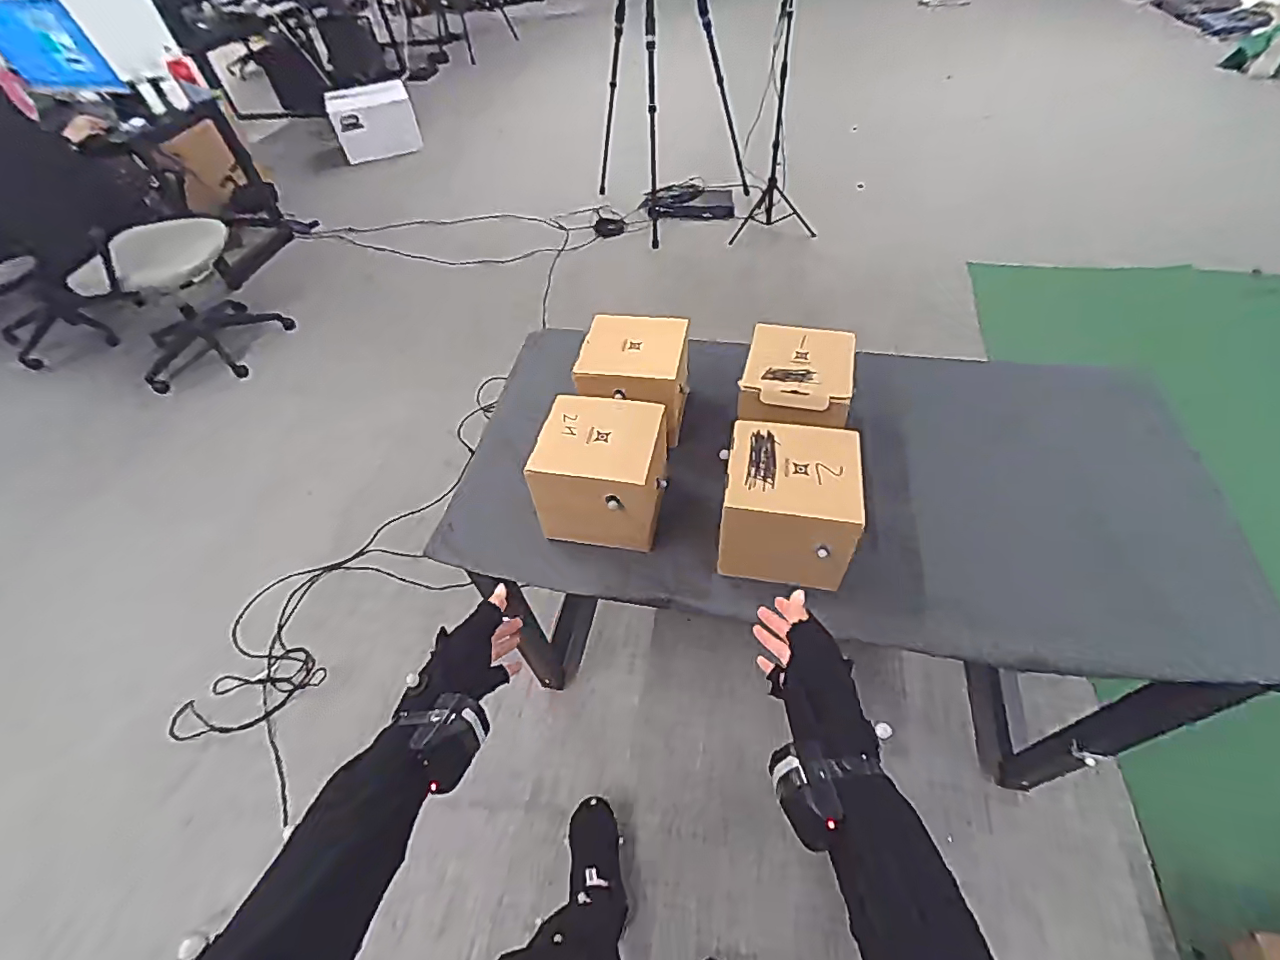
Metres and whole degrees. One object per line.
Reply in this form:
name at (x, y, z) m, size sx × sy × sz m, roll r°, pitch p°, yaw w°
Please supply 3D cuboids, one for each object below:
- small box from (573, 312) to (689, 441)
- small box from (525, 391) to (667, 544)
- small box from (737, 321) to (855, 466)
small box at (-0.006, -0.185, 0.988) m, size 0.179 × 0.176 × 0.168 m, roll 5°, pitch 52°, yaw 11°
small box at (-0.056, -0.016, 0.850) m, size 0.179 × 0.176 × 0.168 m, roll 7°, pitch 51°, yaw 11°
small box at (0.262, -0.146, 0.929) m, size 0.168 × 0.176 × 0.179 m, roll 10°, pitch 52°, yaw 13°
